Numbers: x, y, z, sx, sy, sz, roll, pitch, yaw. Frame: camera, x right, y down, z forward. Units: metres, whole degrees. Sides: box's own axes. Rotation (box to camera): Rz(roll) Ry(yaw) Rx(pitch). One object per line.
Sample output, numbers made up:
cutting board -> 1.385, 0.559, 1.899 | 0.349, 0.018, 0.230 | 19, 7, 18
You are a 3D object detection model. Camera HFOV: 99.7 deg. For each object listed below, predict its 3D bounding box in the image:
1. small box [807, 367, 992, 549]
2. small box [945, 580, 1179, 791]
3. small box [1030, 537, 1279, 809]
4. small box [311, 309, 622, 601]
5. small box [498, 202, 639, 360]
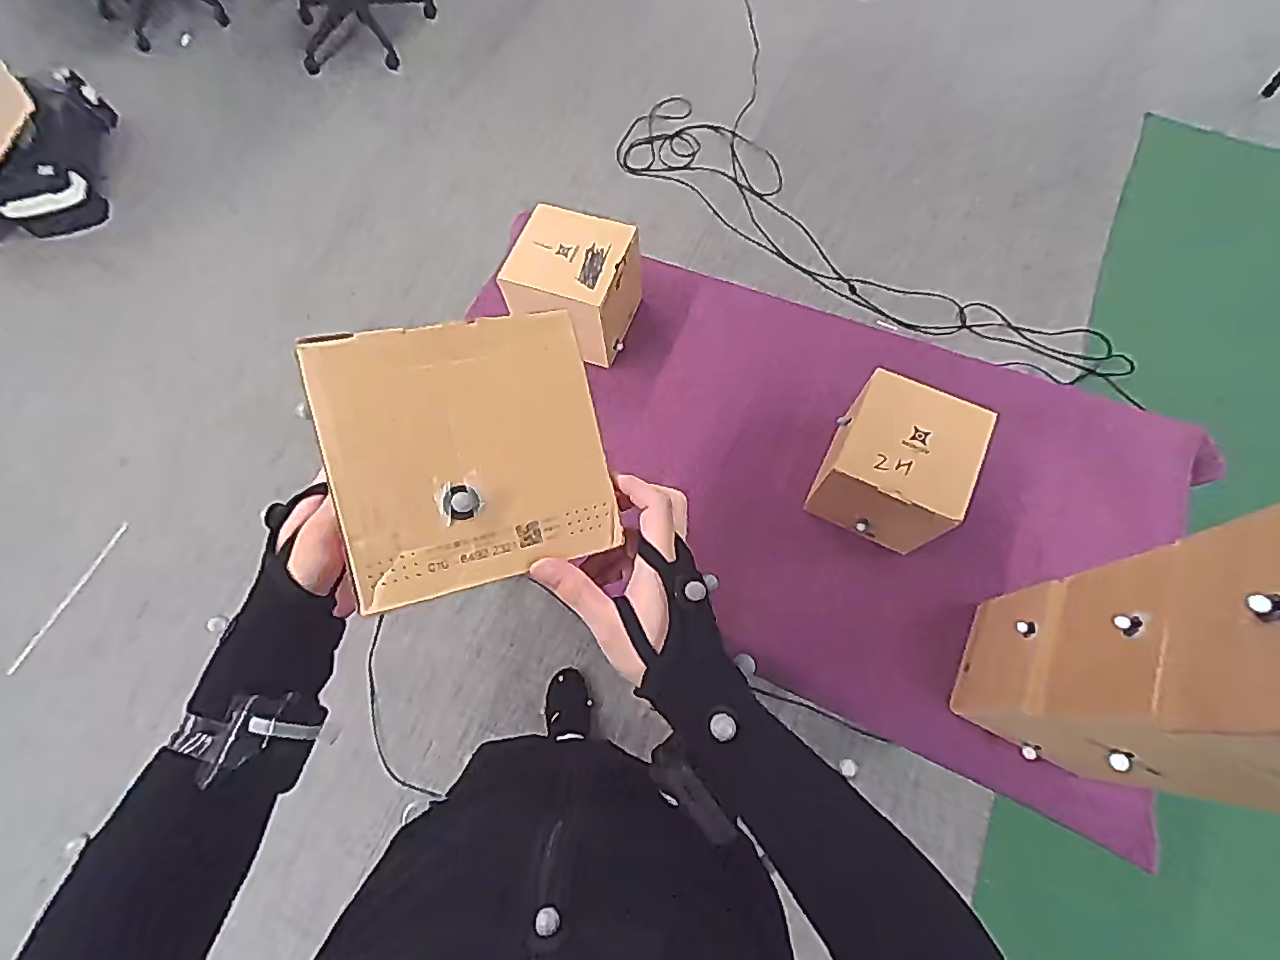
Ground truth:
small box -> 0.362, -0.024, 0.786 | 0.168, 0.176, 0.179 | 26, 72, 12
small box -> 0.526, 0.248, 0.674 | 0.179, 0.176, 0.168 | 26, 71, 11
small box -> 0.524, 0.186, 0.523 | 0.168, 0.176, 0.179 | 25, 71, 13
small box -> -0.127, -0.014, 0.420 | 0.168, 0.179, 0.176 | -13, 91, -19
small box -> -0.108, -0.328, 0.917 | 0.179, 0.176, 0.168 | 19, 71, 9
